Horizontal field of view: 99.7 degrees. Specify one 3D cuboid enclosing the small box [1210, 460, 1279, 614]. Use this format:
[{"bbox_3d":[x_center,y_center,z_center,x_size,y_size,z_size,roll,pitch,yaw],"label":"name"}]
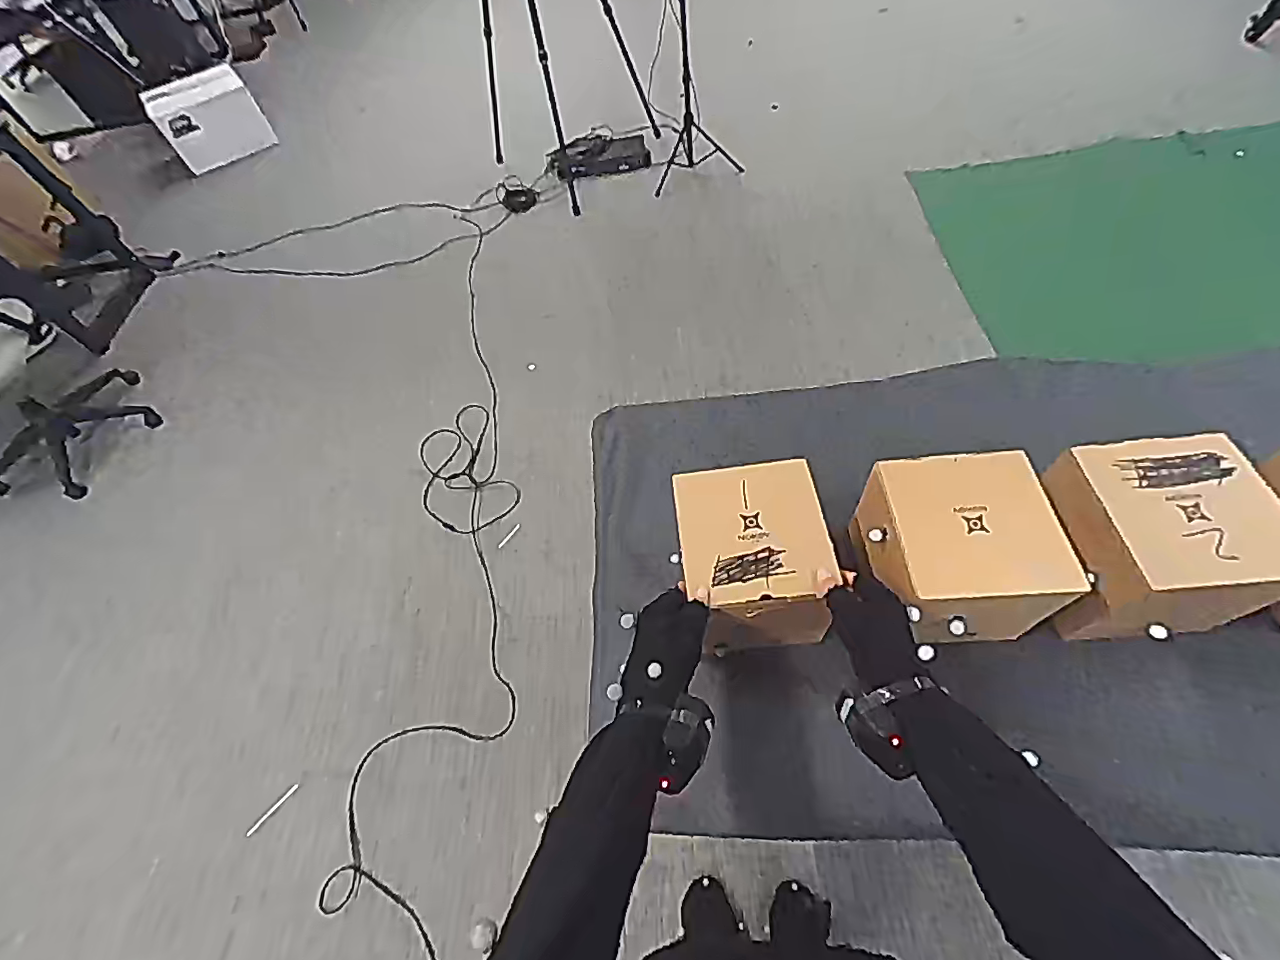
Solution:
[{"bbox_3d":[0.818,0.054,0.600,0.168,0.176,0.179,-6,56,6],"label":"small box"}]
